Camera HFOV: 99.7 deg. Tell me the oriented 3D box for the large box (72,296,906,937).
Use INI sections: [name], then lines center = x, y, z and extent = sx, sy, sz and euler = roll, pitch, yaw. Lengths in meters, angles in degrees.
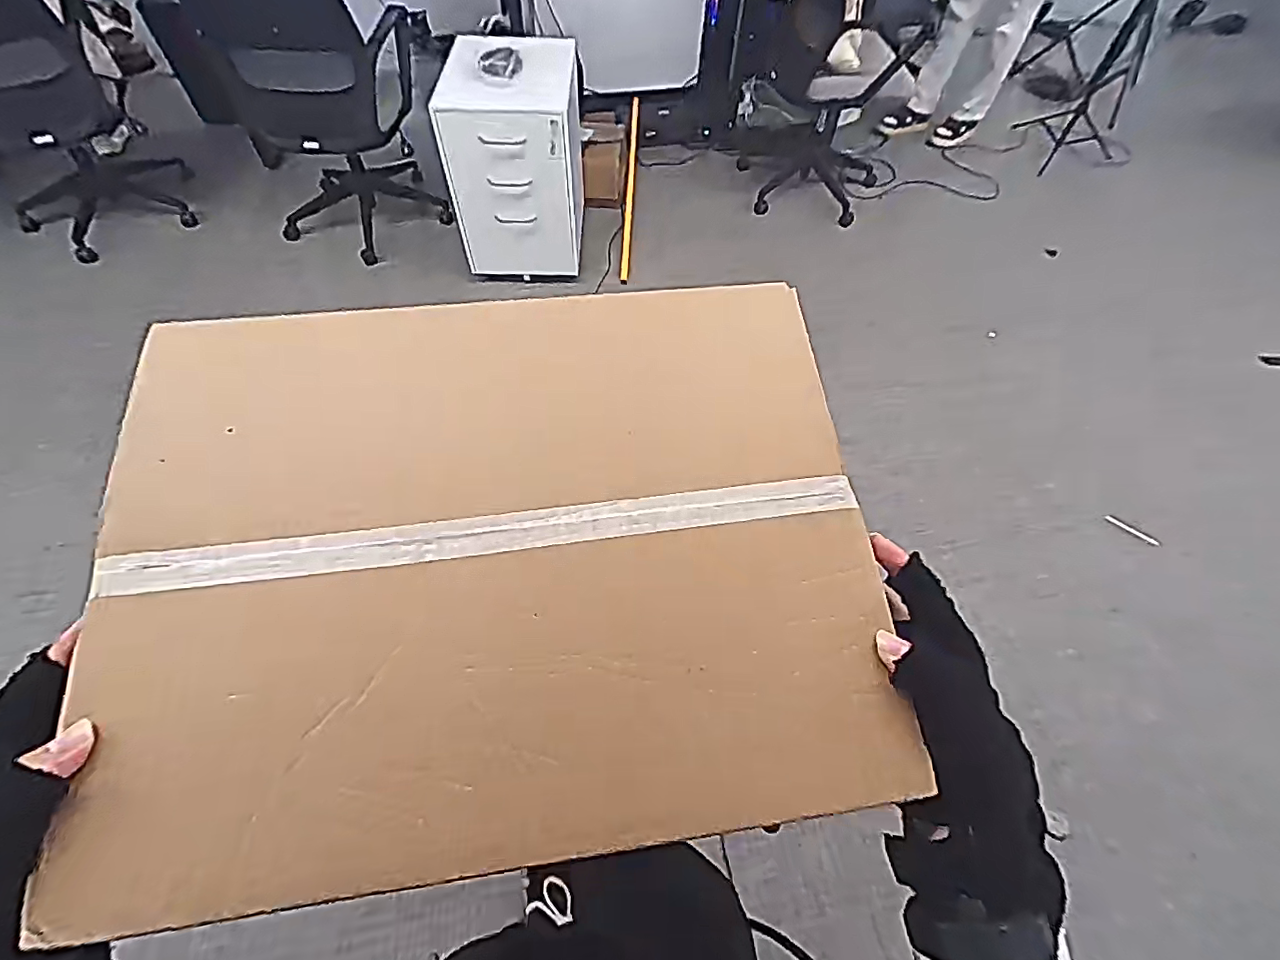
[large box]
center = -0.084, 0.087, 0.447
extent = 0.408, 0.320, 0.320
euler = -6, 69, -5
